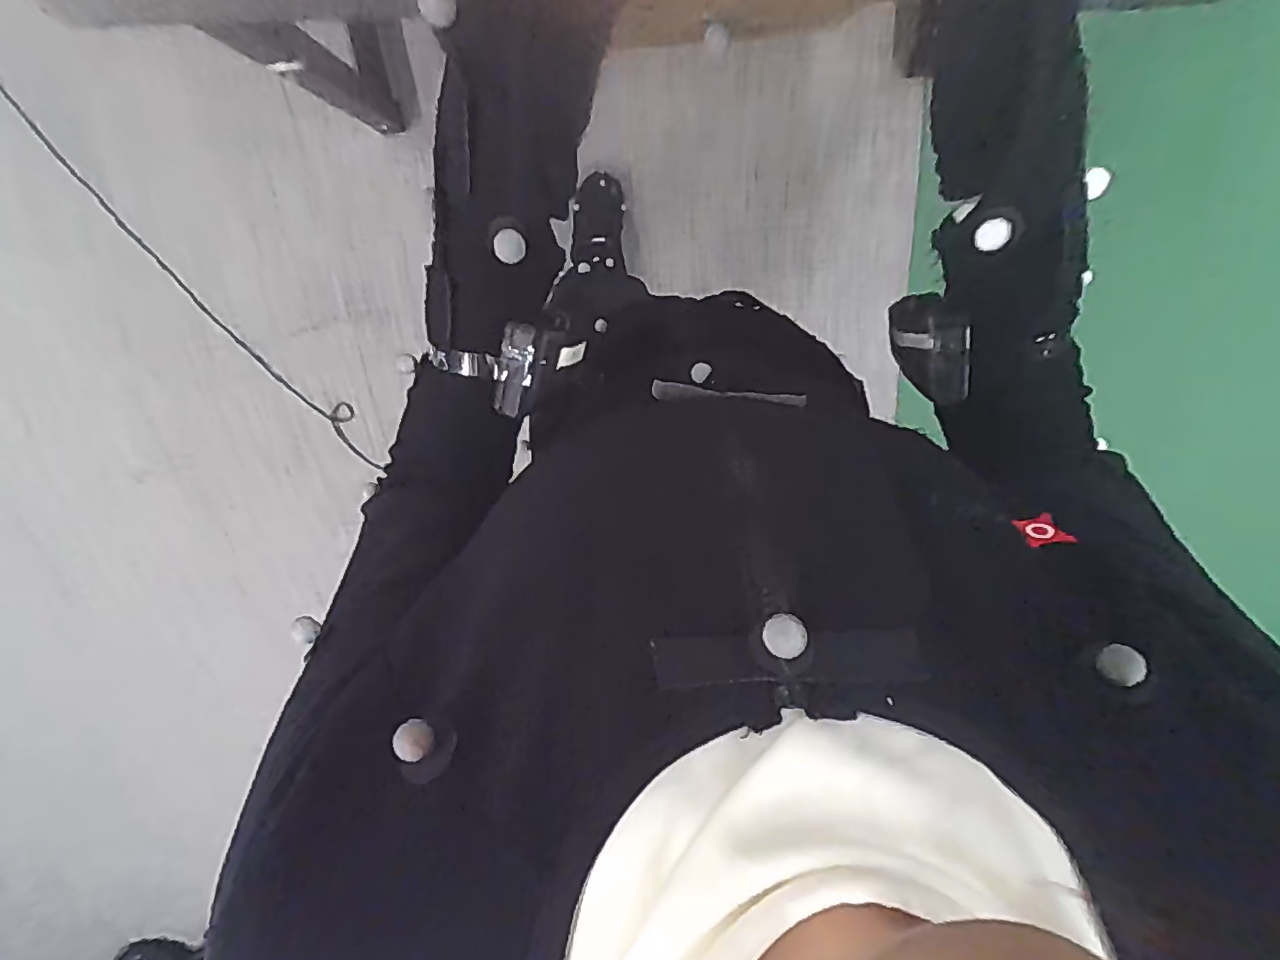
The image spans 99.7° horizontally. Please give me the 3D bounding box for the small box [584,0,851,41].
[{"bbox_3d":[0.043,-0.333,0.241,0.168,0.176,0.179,-5,116,0],"label":"small box"}]
